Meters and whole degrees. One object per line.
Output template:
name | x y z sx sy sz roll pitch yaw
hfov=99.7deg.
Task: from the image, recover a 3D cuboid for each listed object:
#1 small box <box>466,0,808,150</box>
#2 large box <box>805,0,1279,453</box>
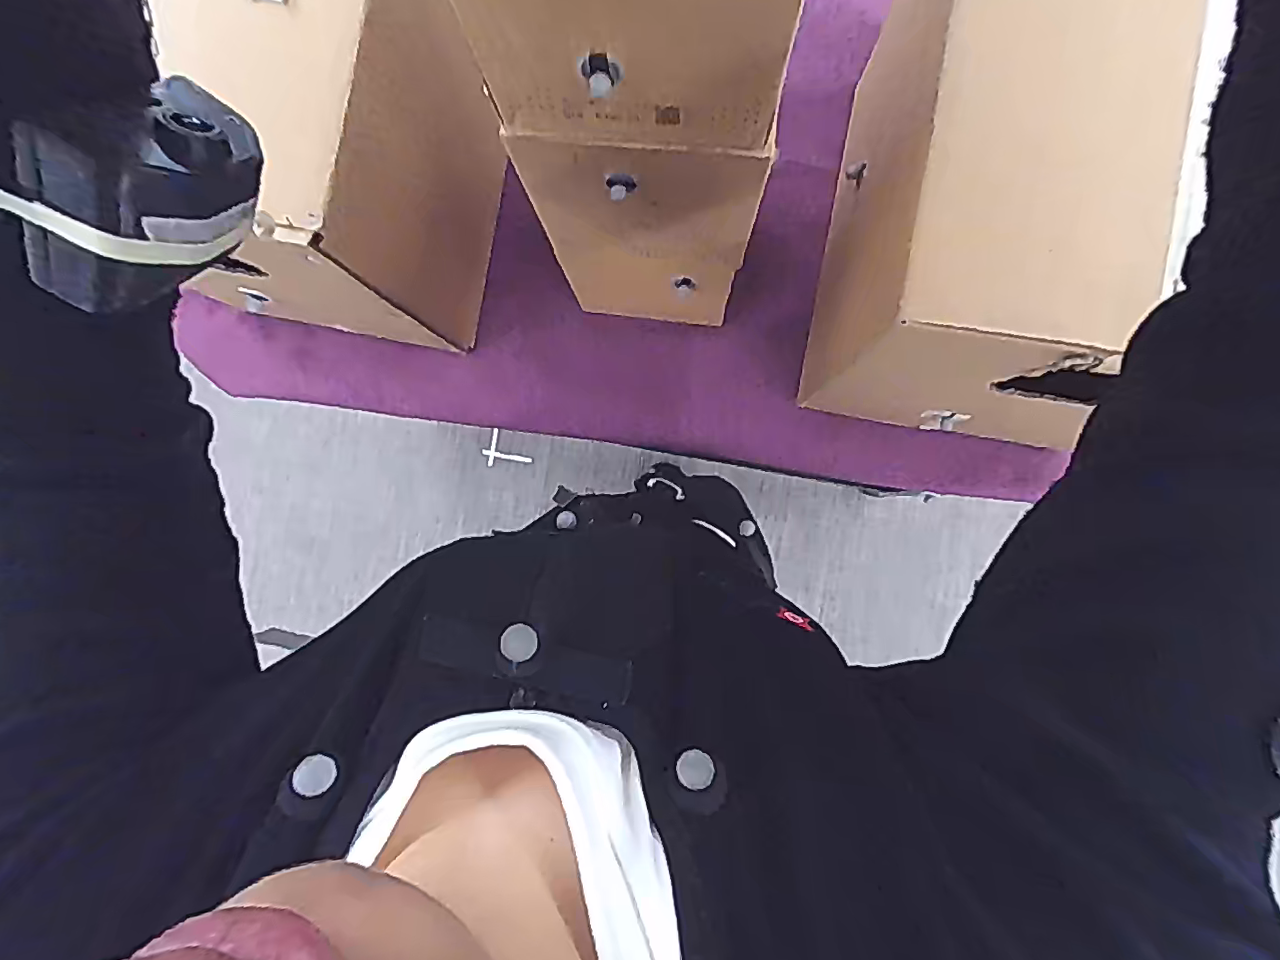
small box | 0.001 -0.297 0.253 0.168 0.176 0.179 6 89 4
large box | 0.359 -0.254 0.487 0.320 0.320 0.408 10 87 4
